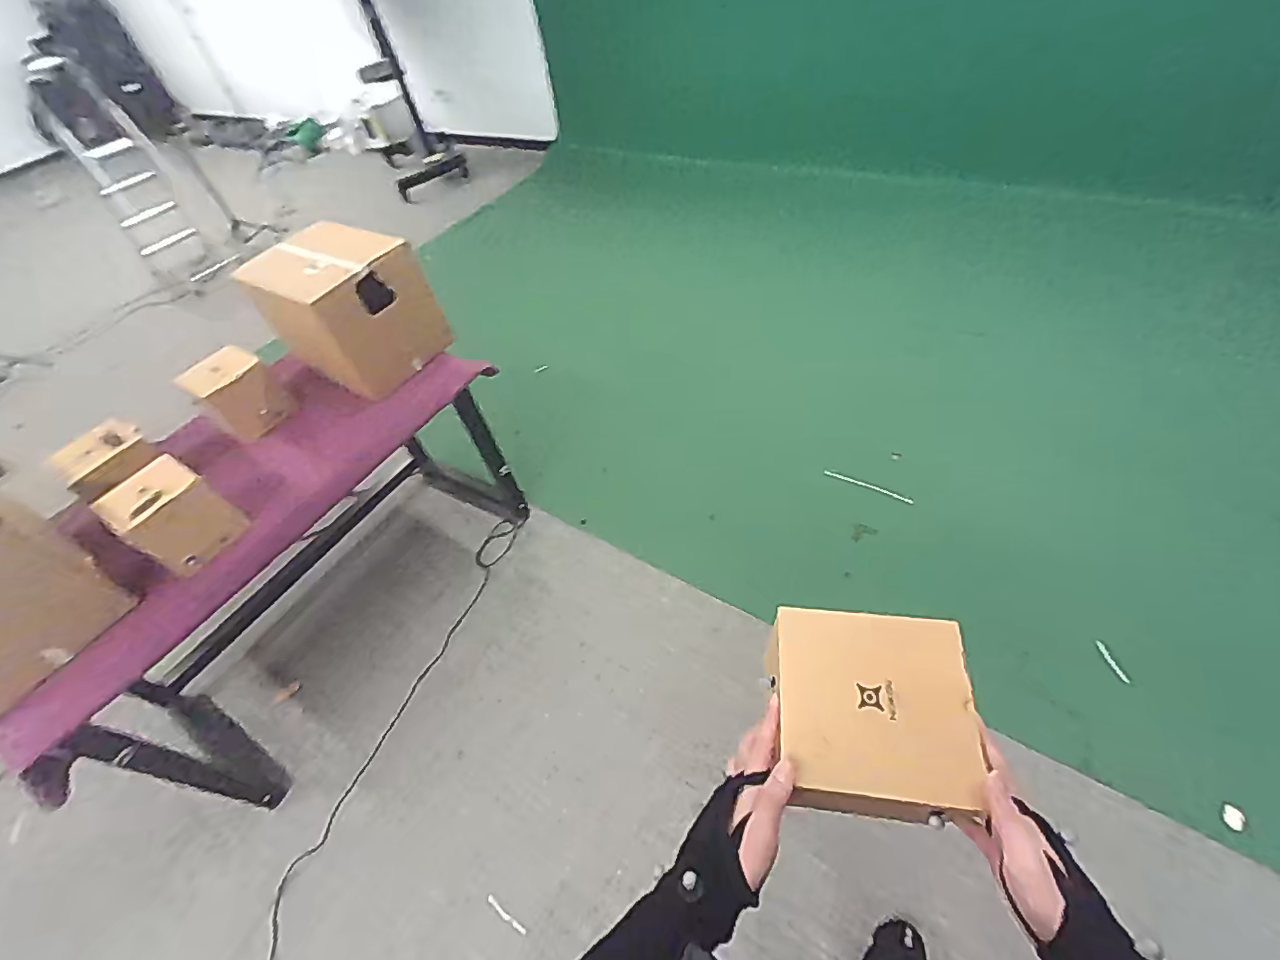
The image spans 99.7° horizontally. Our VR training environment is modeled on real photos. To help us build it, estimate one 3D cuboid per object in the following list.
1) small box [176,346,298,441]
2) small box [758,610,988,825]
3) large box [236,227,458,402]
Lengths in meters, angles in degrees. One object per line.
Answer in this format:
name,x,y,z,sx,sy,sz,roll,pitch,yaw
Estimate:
small box,-1.081,-0.230,1.461,0.179,0.176,0.168,23,58,26
small box,0.217,0.251,0.563,0.179,0.176,0.168,3,55,7
large box,-0.807,-0.472,1.529,0.408,0.320,0.320,23,59,26
